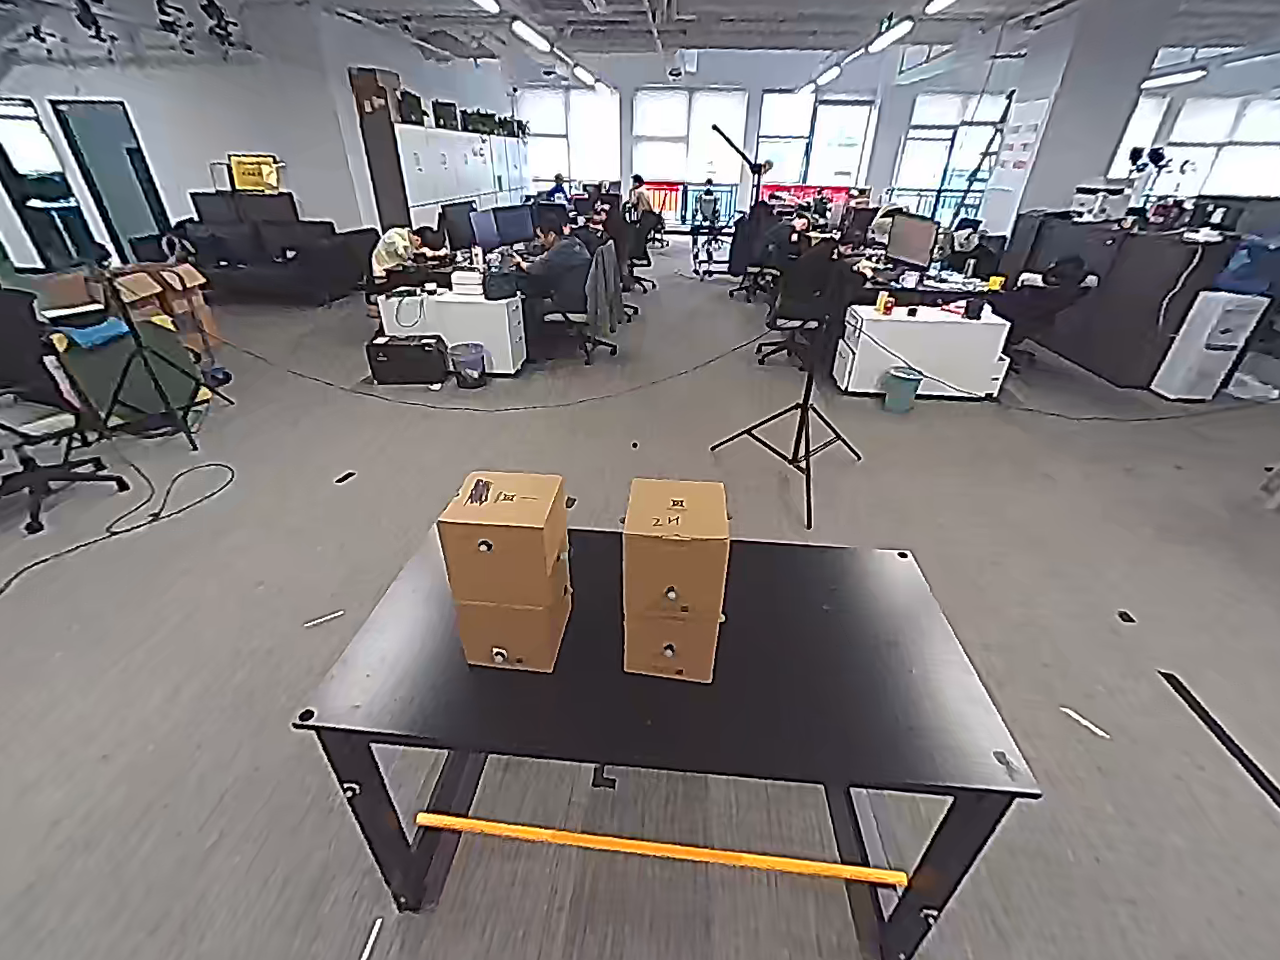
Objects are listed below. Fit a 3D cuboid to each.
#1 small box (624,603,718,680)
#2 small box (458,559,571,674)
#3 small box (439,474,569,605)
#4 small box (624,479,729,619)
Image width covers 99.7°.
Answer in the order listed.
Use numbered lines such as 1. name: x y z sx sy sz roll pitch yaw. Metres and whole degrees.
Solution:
1. small box: 0.066 0.255 1.036 0.168 0.176 0.179 5 31 7
2. small box: -0.232 0.245 1.047 0.168 0.176 0.179 2 31 5
3. small box: -0.230 0.104 0.962 0.179 0.176 0.168 3 30 3
4. small box: 0.061 0.116 0.945 0.168 0.176 0.179 2 30 4
